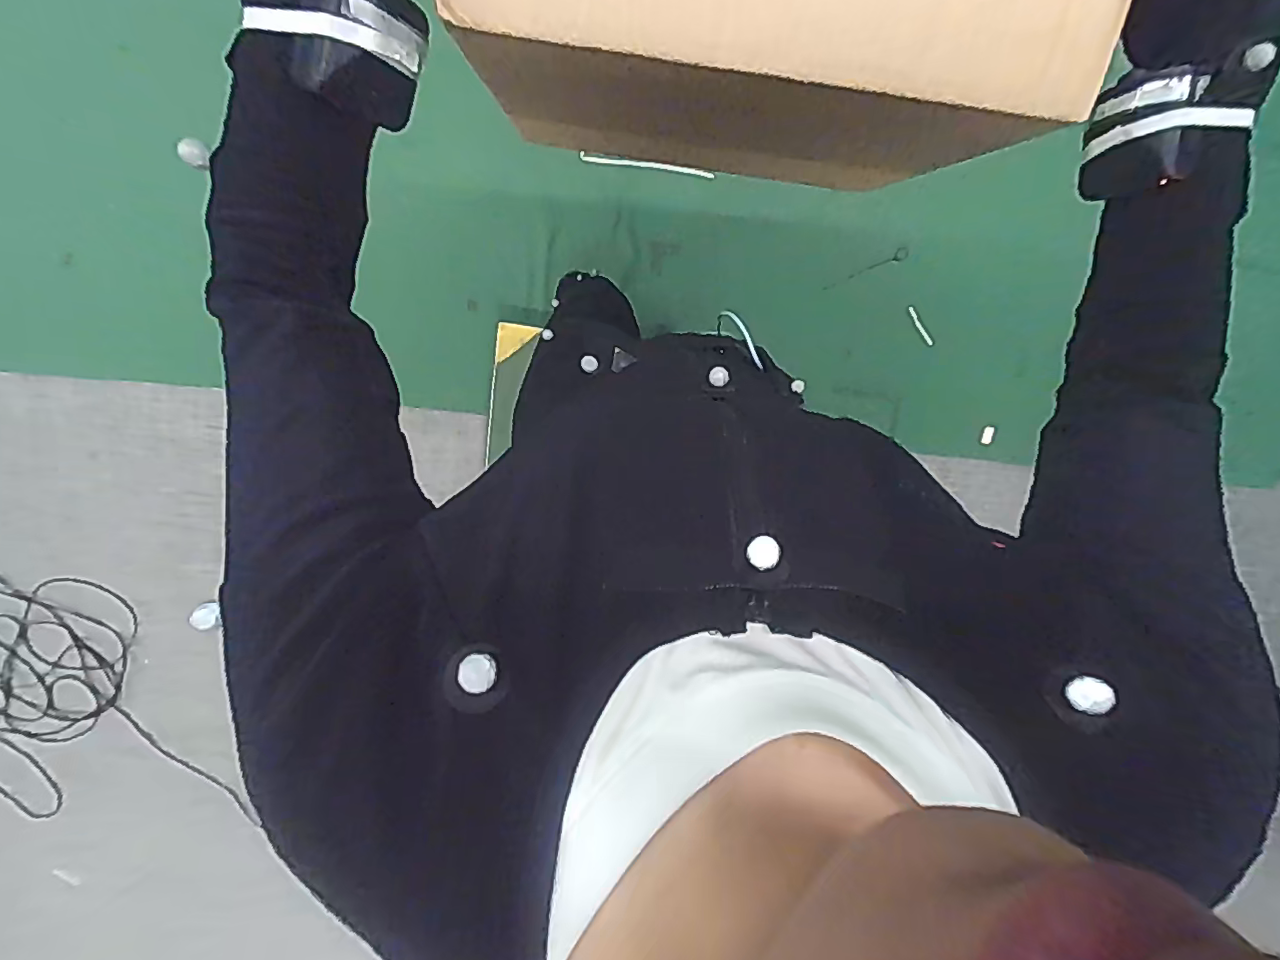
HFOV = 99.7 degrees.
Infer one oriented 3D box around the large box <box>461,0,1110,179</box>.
[{"bbox_3d":[0.092,-0.453,0.422,0.408,0.320,0.320,4,111,-6],"label":"large box"}]
